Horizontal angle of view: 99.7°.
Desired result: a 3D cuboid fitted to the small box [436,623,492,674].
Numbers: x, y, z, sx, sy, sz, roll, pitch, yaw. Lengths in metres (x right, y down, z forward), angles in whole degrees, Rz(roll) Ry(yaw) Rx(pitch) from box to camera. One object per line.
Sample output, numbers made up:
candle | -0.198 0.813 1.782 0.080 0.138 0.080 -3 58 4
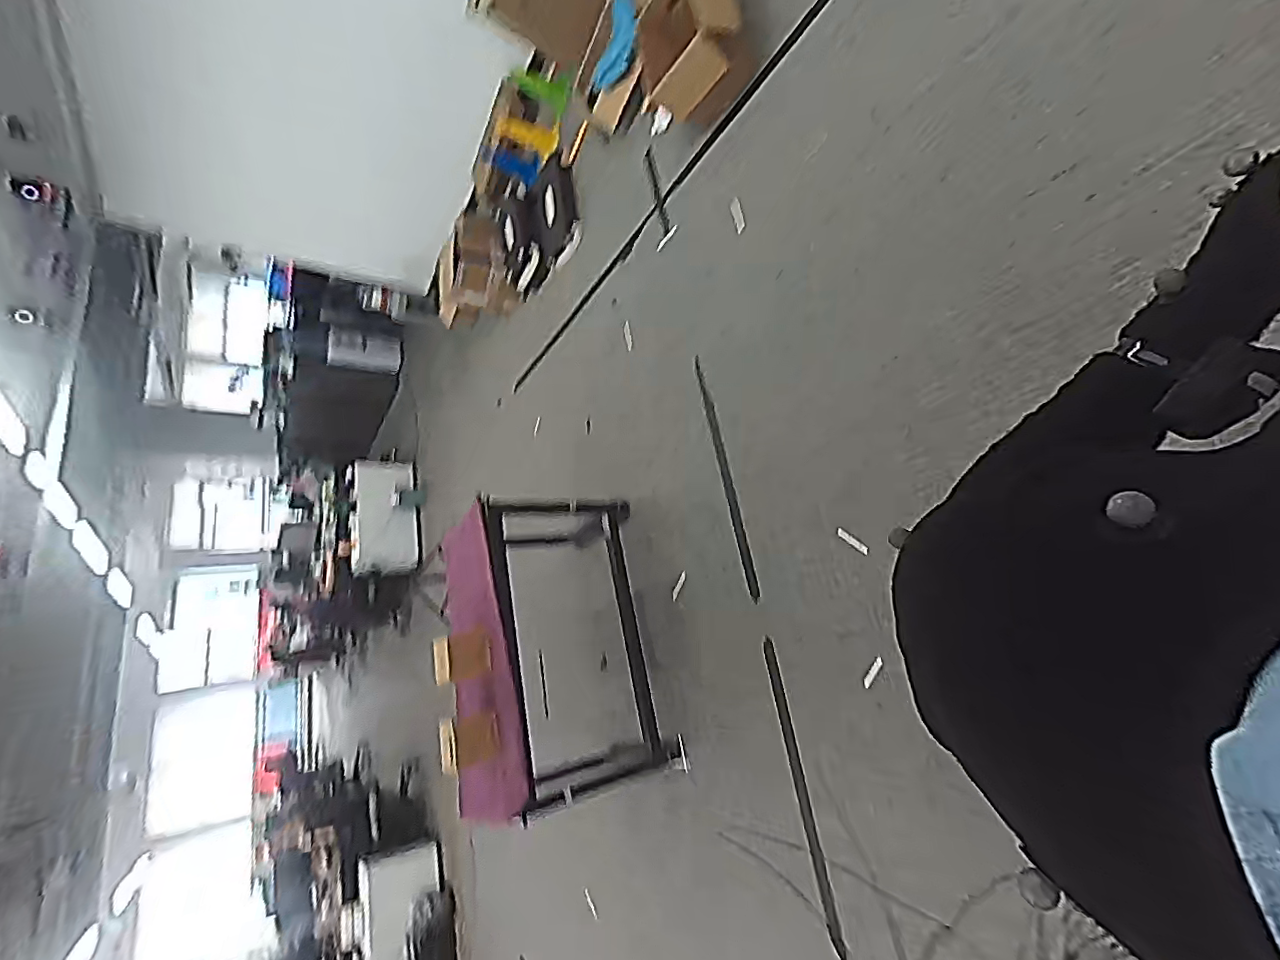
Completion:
small box | -0.705 0.675 2.166 0.179 0.176 0.168 -33 62 48
